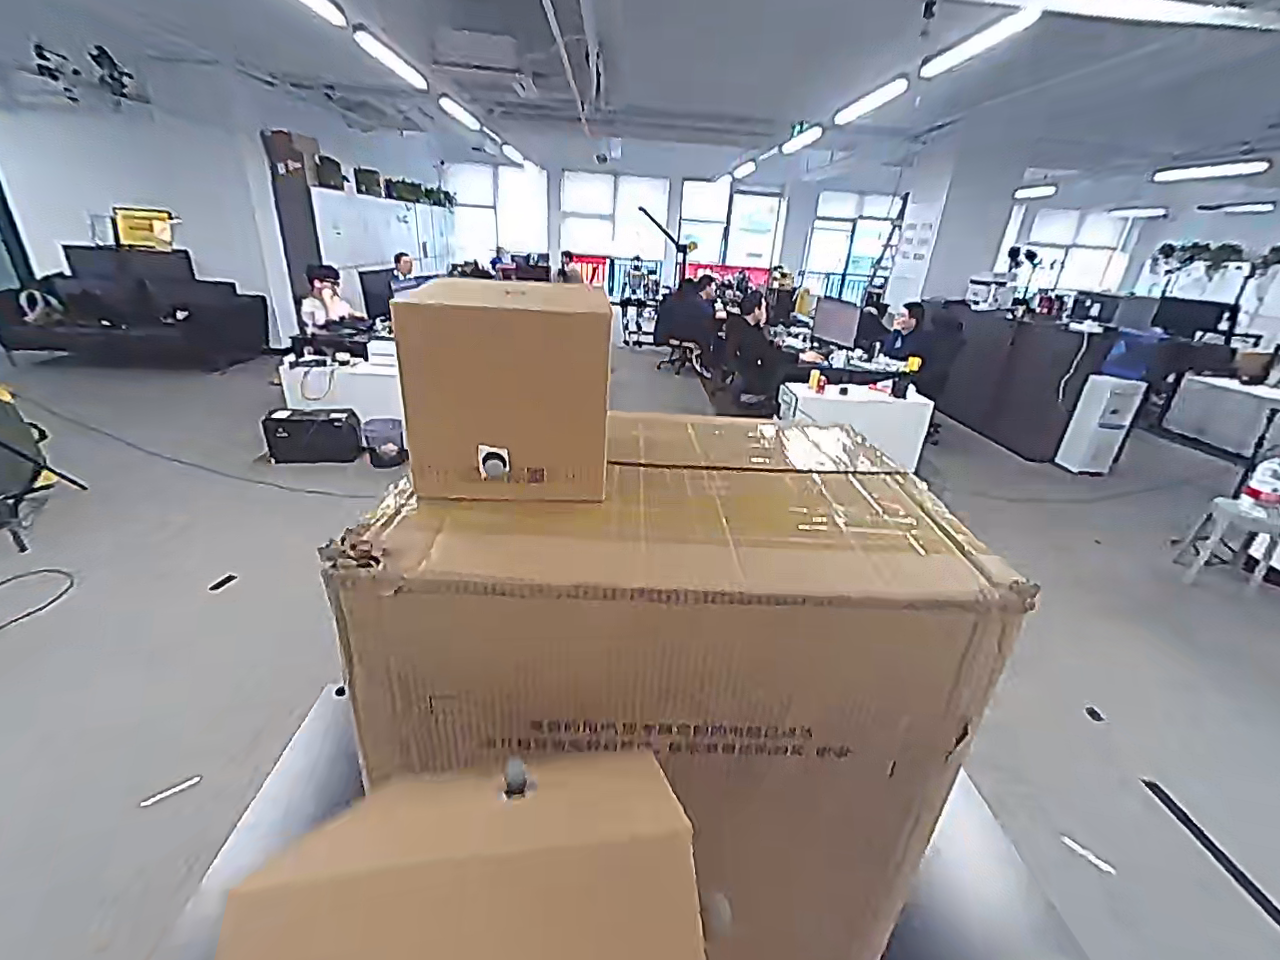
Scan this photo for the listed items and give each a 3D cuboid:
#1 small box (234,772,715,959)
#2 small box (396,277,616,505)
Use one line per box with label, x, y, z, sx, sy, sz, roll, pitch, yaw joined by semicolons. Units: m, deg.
small box;-0.057;0.244;0.245;0.168;0.179;0.176;-4;-19;-5
small box;-0.114;-0.090;0.513;0.168;0.176;0.179;0;27;-8
